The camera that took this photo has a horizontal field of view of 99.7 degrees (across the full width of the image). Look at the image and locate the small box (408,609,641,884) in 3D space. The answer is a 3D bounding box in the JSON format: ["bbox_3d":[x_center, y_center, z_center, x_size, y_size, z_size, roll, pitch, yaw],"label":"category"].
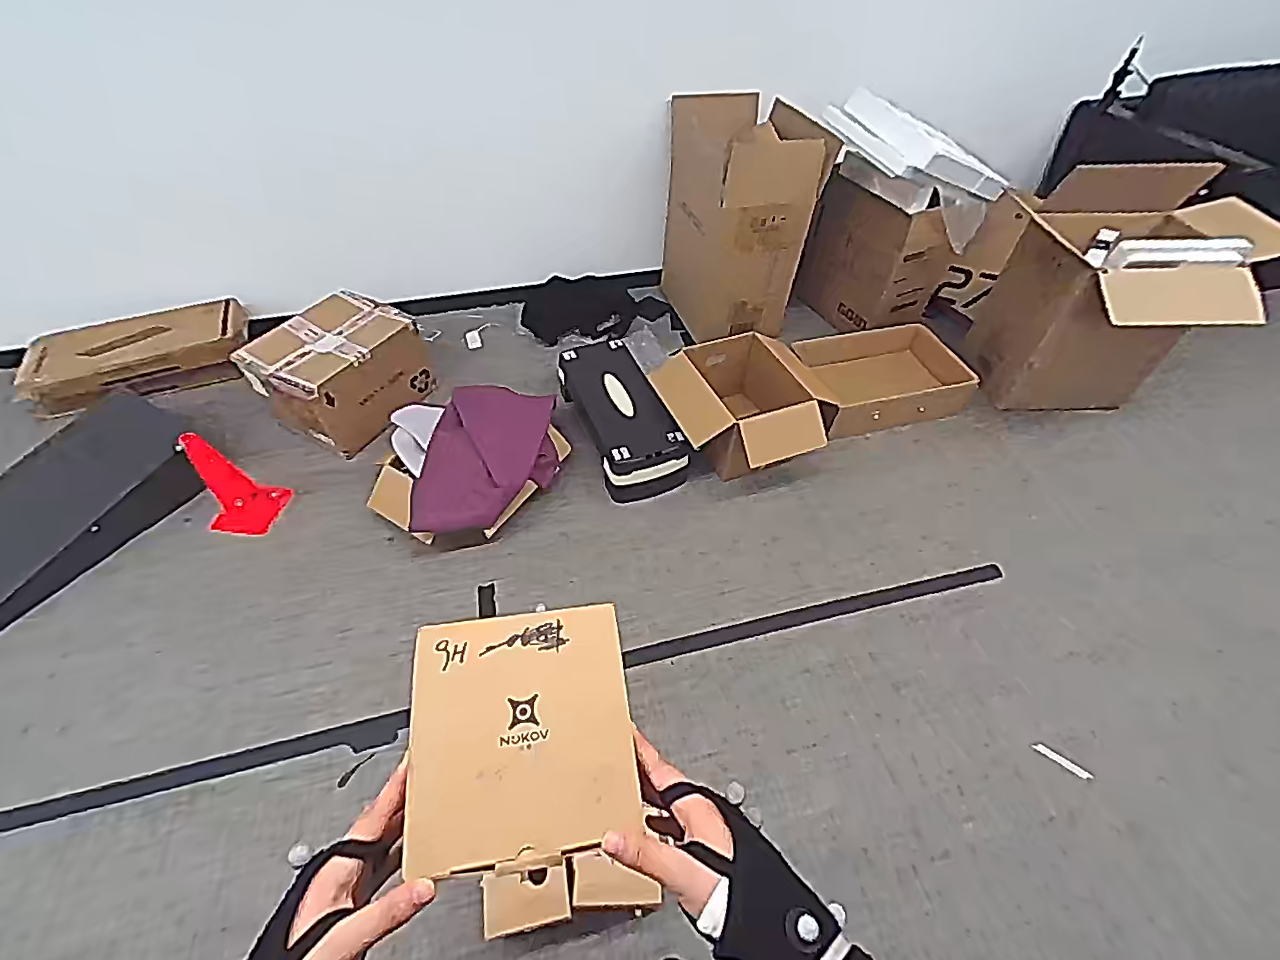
[{"bbox_3d":[-0.095,0.234,0.486,0.168,0.176,0.179,-5,58,-9],"label":"small box"}]
